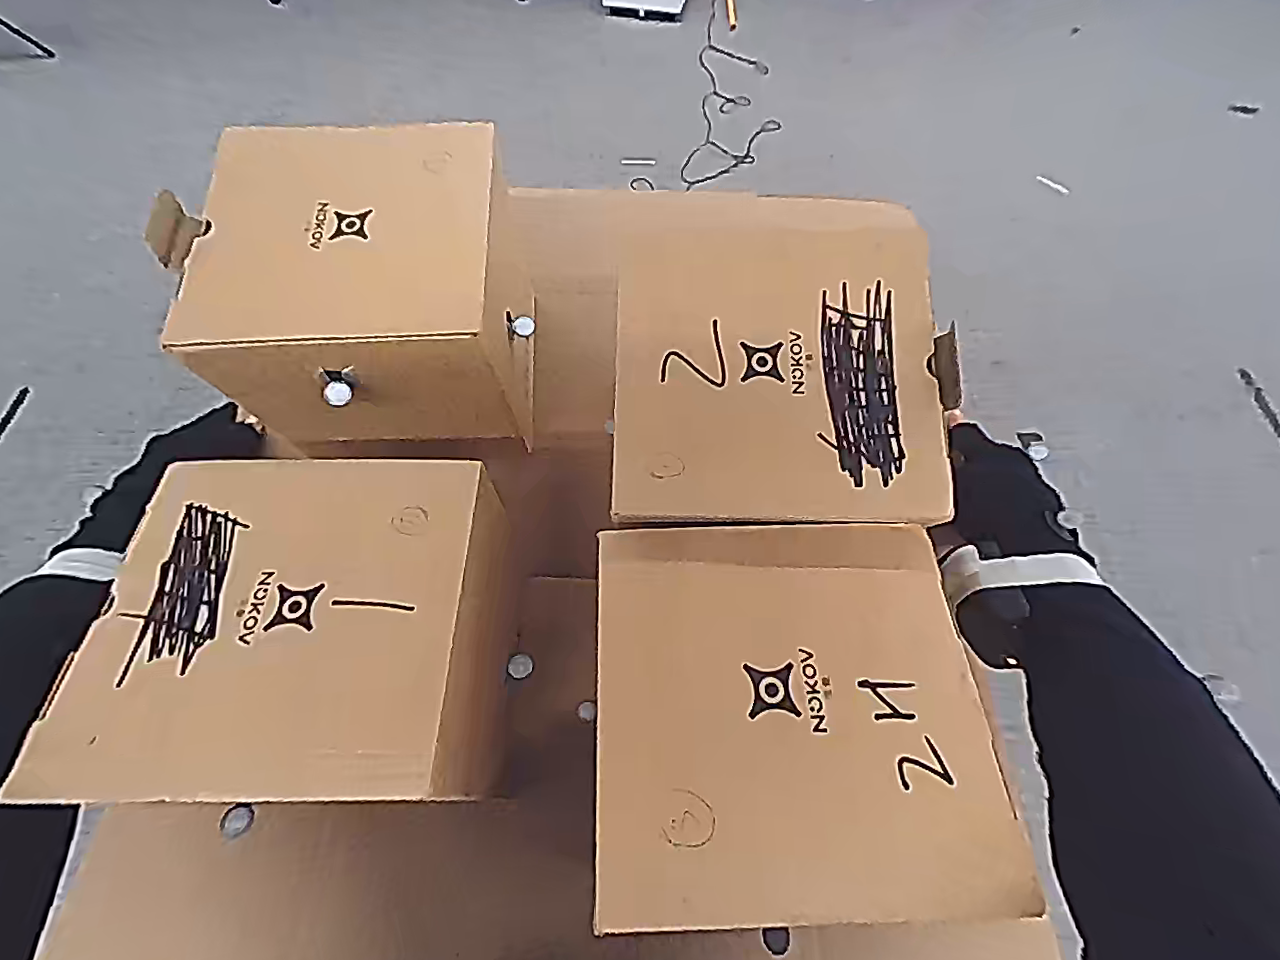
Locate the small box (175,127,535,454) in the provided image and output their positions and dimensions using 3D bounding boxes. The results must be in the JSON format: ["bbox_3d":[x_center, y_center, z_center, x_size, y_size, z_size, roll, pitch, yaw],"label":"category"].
[{"bbox_3d":[-0.178,-0.126,0.406,0.179,0.176,0.168,-3,69,-1],"label":"small box"}]
